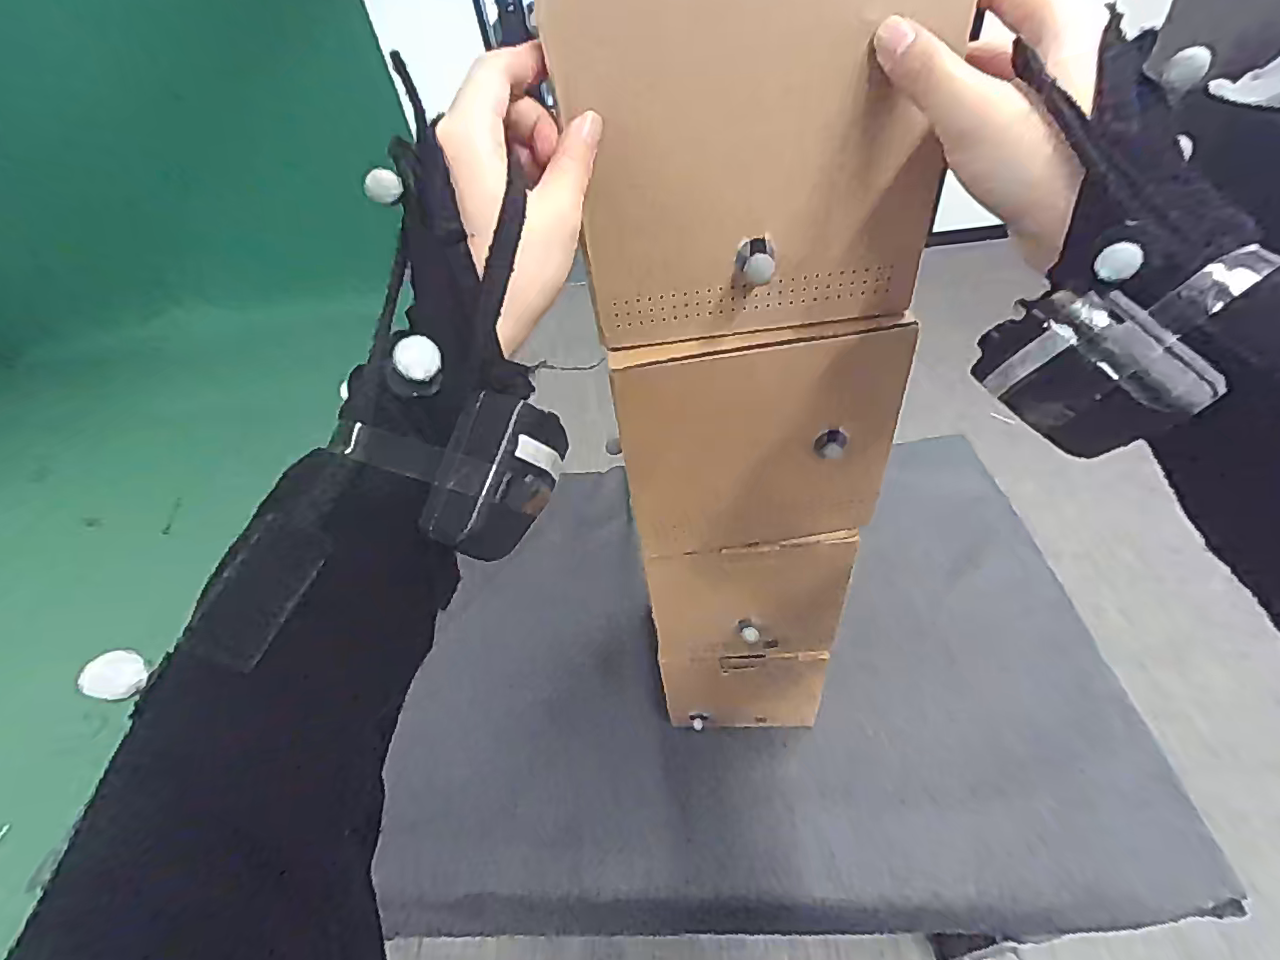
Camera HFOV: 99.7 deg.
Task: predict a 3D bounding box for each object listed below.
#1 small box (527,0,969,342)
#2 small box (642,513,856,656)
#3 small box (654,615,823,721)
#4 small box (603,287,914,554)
[{"bbox_3d":[0.047,-0.196,0.309,0.179,0.176,0.168,-6,41,3],"label":"small box"},{"bbox_3d":[0.091,0.048,0.523,0.168,0.176,0.179,-5,44,5],"label":"small box"},{"bbox_3d":[0.109,0.167,0.635,0.168,0.176,0.179,-3,44,7],"label":"small box"},{"bbox_3d":[0.069,-0.065,0.409,0.179,0.176,0.168,-9,42,2],"label":"small box"}]
